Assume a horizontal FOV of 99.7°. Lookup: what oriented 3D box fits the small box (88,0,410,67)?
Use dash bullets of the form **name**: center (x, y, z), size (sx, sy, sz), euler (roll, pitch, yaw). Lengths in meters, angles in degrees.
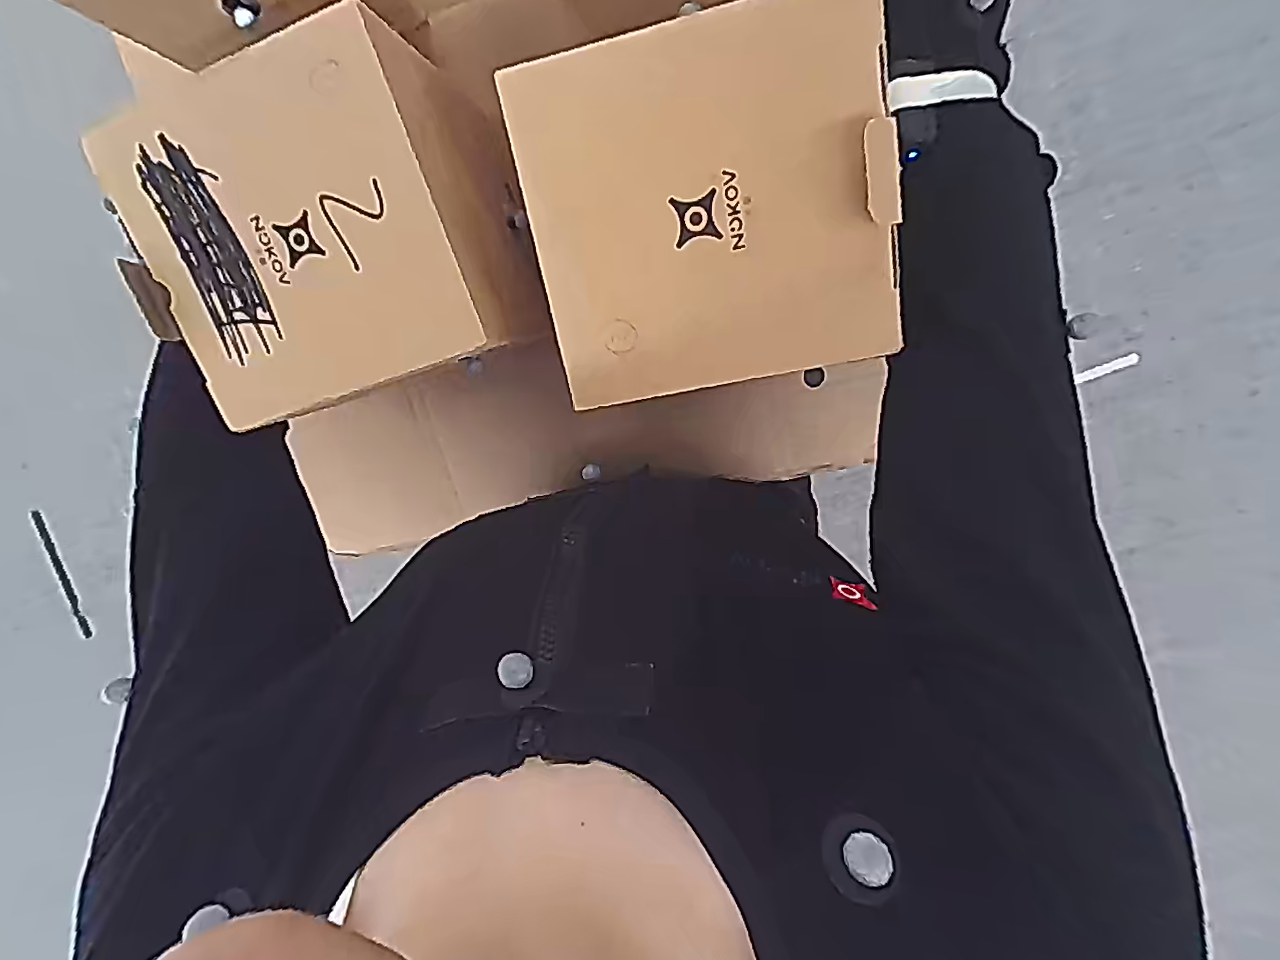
- **small box**: center (-0.267, -0.385, 0.316), size (0.168, 0.176, 0.179), euler (-12, 102, 11)
